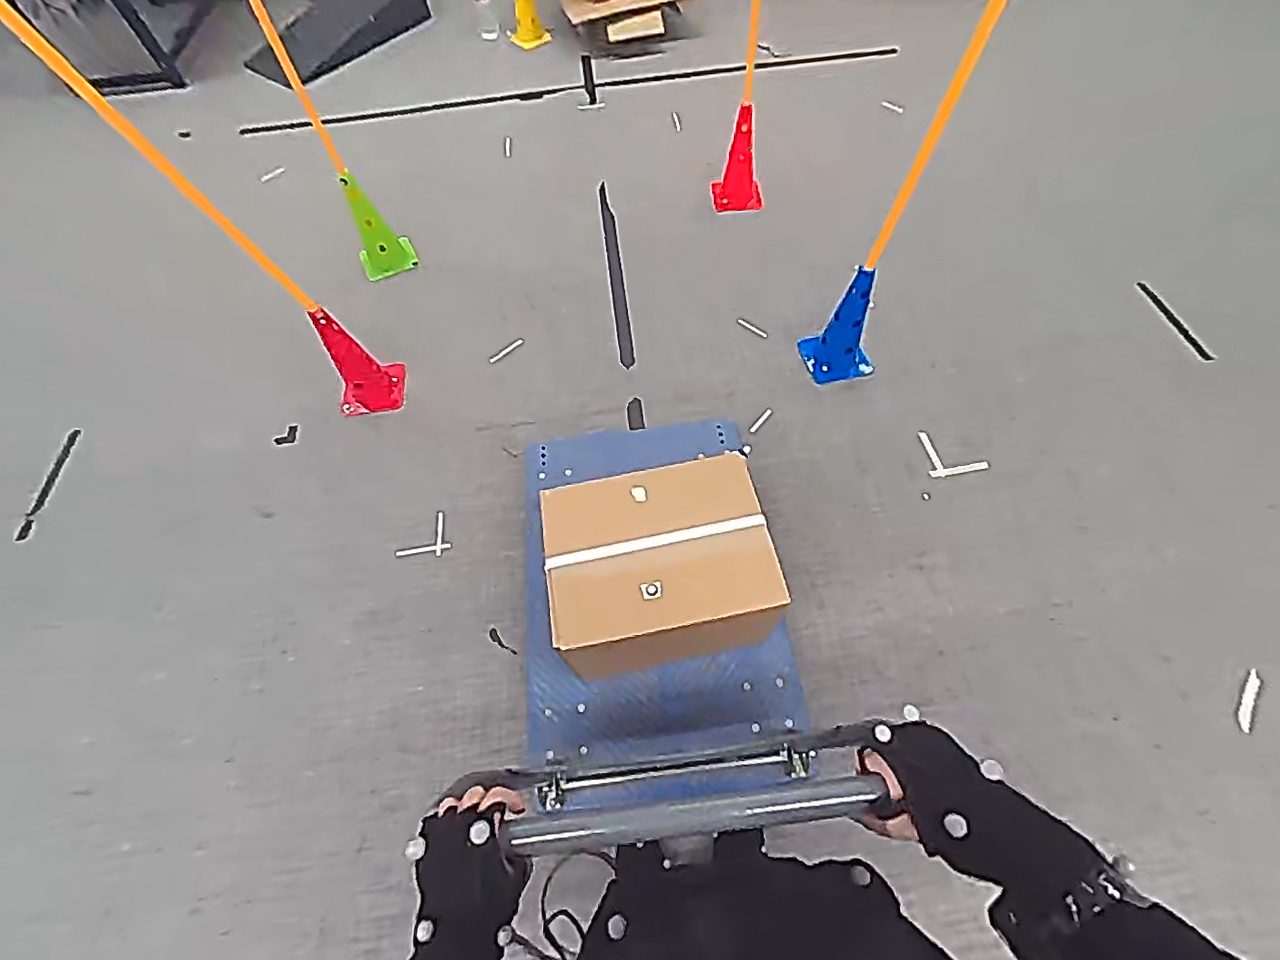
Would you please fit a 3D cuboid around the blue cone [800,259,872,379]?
[{"bbox_3d":[0.640,-0.500,1.658,0.193,0.380,0.192,-11,59,-4],"label":"blue cone"}]

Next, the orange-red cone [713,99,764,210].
[{"bbox_3d":[0.400,-1.267,2.088,0.199,0.360,0.198,-1,61,1],"label":"orange-red cone"}]
